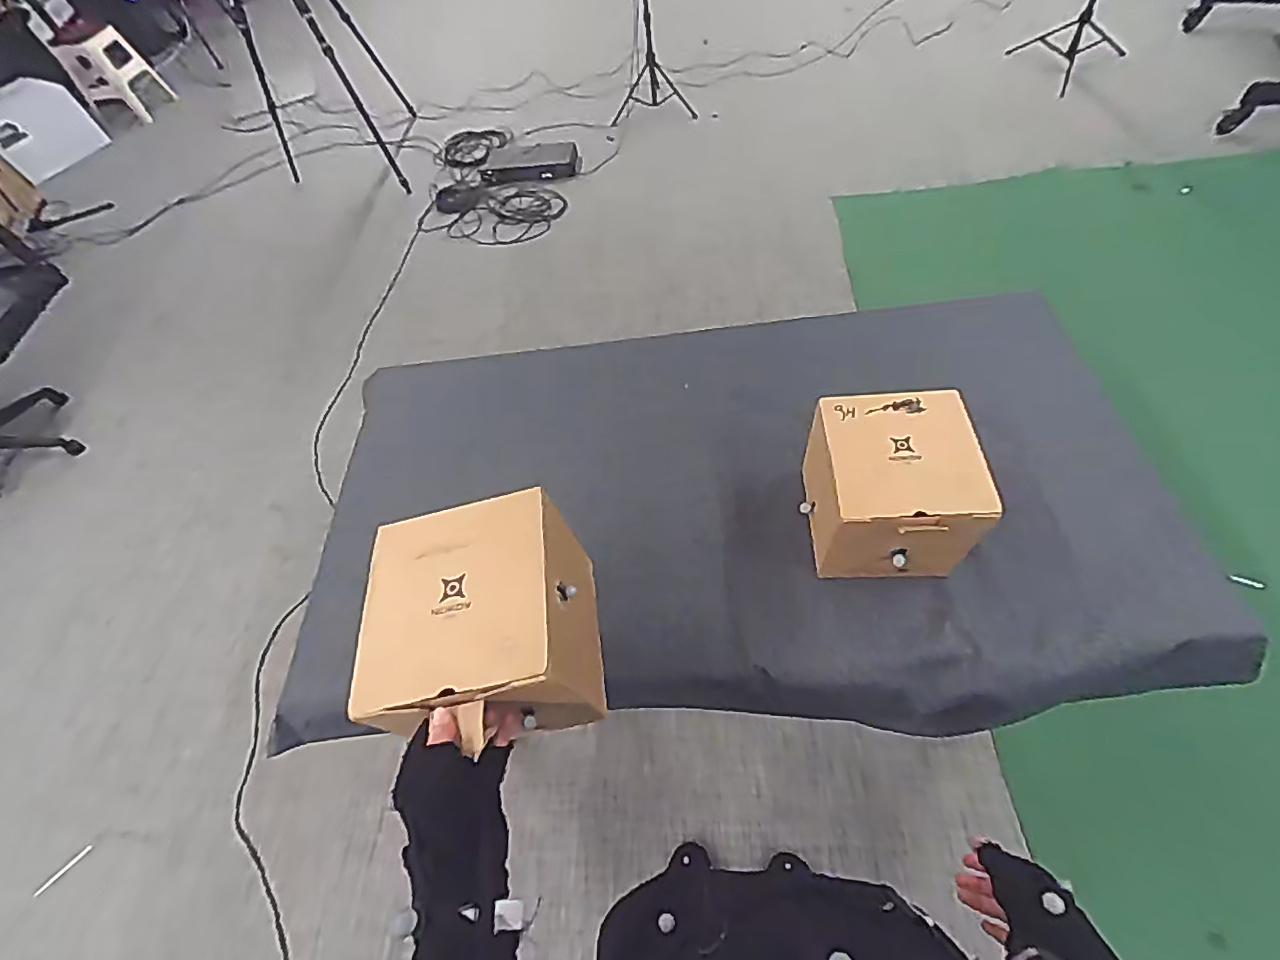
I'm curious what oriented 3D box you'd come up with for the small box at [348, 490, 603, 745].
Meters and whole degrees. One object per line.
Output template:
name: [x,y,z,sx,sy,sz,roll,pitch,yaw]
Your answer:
small box: [-0.139,0.141,0.516,0.168,0.176,0.179,-14,53,4]
